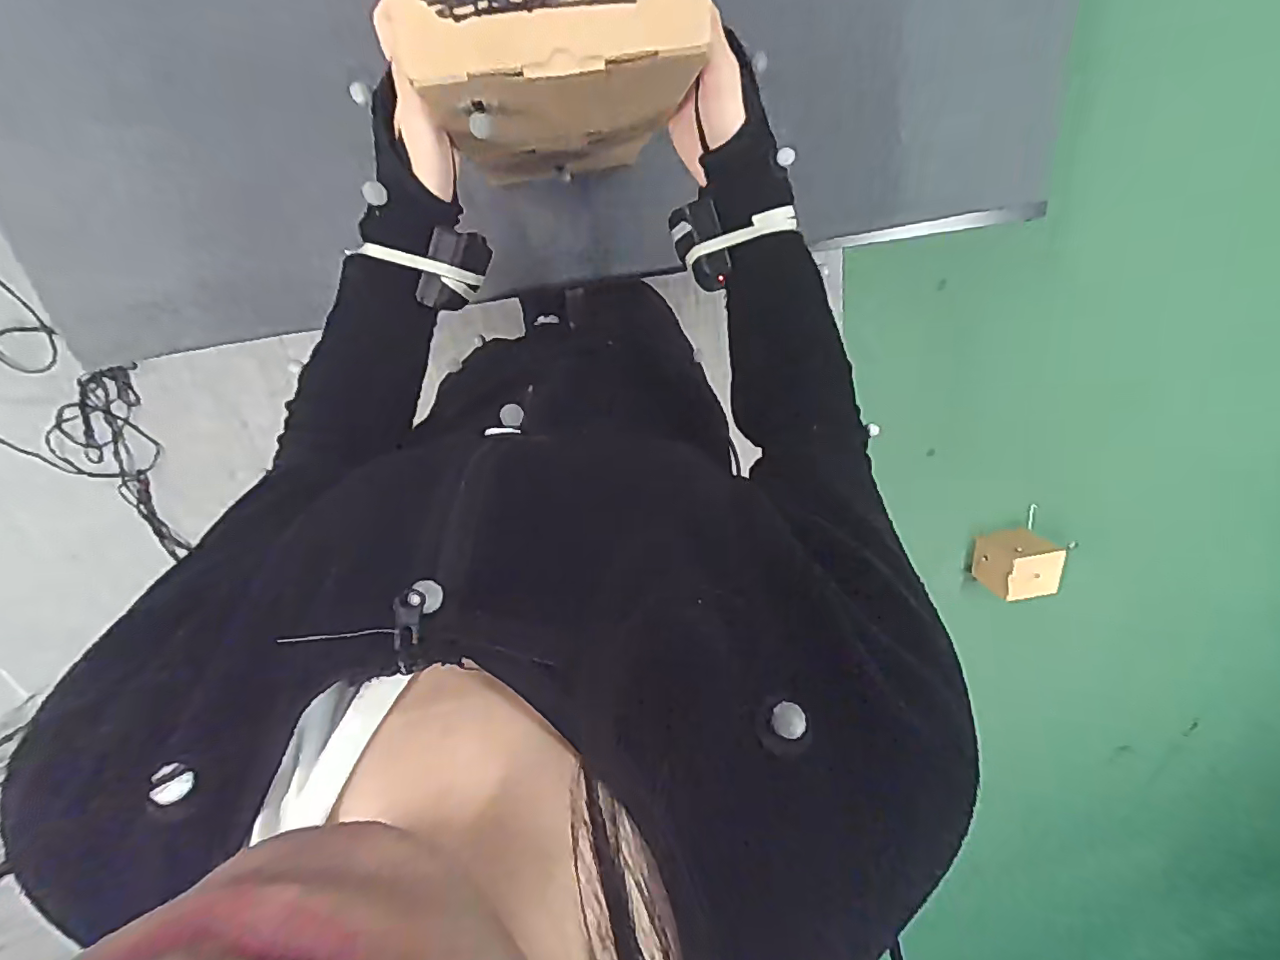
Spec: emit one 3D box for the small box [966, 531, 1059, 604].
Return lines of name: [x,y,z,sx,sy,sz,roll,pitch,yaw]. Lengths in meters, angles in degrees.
small box: [1.232,0.284,1.797,0.179,0.176,0.168,-9,114,-4]

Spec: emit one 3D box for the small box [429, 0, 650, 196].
small box: [-0.094,-0.390,0.518,0.168,0.176,0.179,-11,113,-3]
